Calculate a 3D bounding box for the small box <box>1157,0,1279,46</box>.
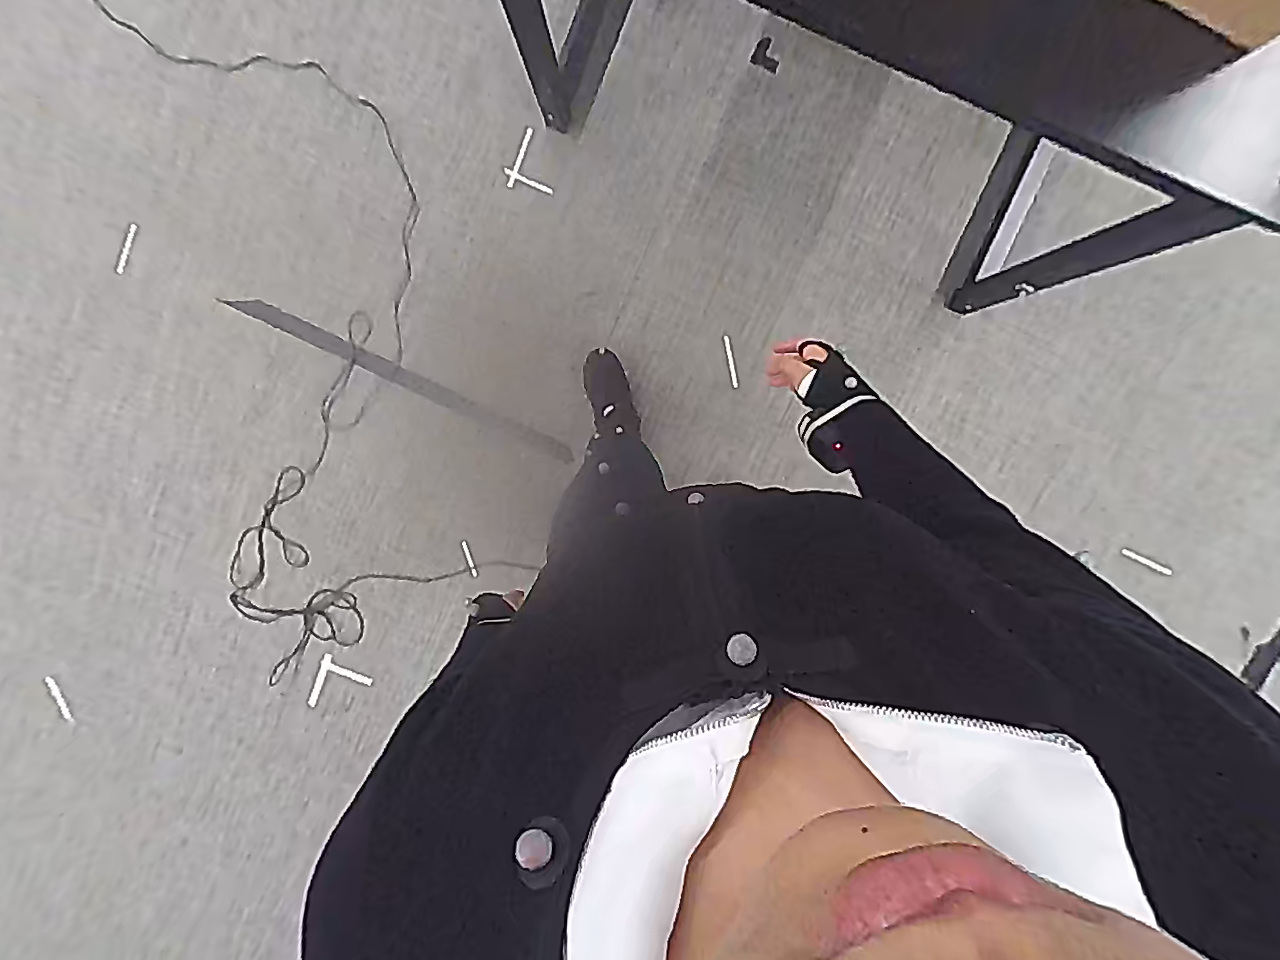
[{"bbox_3d":[0.713,-0.627,0.579,0.179,0.176,0.168,27,96,-1],"label":"small box"}]
